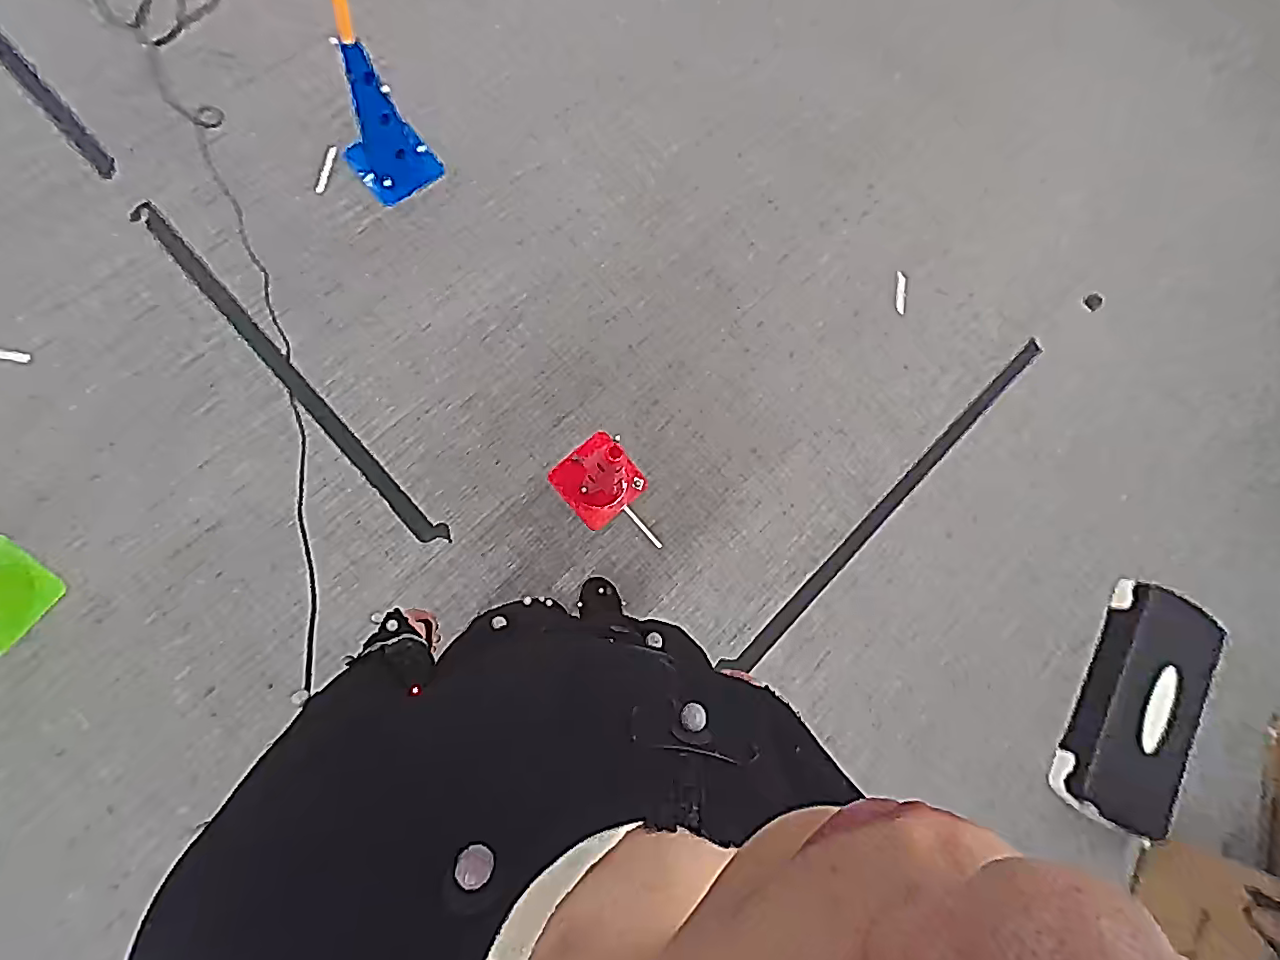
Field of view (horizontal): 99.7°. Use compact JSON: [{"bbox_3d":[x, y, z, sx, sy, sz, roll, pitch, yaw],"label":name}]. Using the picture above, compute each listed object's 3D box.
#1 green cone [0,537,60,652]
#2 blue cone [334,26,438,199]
[{"bbox_3d":[-1.374,0.220,0.998,0.202,0.368,0.200,37,77,0],"label":"green cone"},{"bbox_3d":[-0.643,-0.891,1.305,0.193,0.380,0.192,-39,88,-13],"label":"blue cone"}]
